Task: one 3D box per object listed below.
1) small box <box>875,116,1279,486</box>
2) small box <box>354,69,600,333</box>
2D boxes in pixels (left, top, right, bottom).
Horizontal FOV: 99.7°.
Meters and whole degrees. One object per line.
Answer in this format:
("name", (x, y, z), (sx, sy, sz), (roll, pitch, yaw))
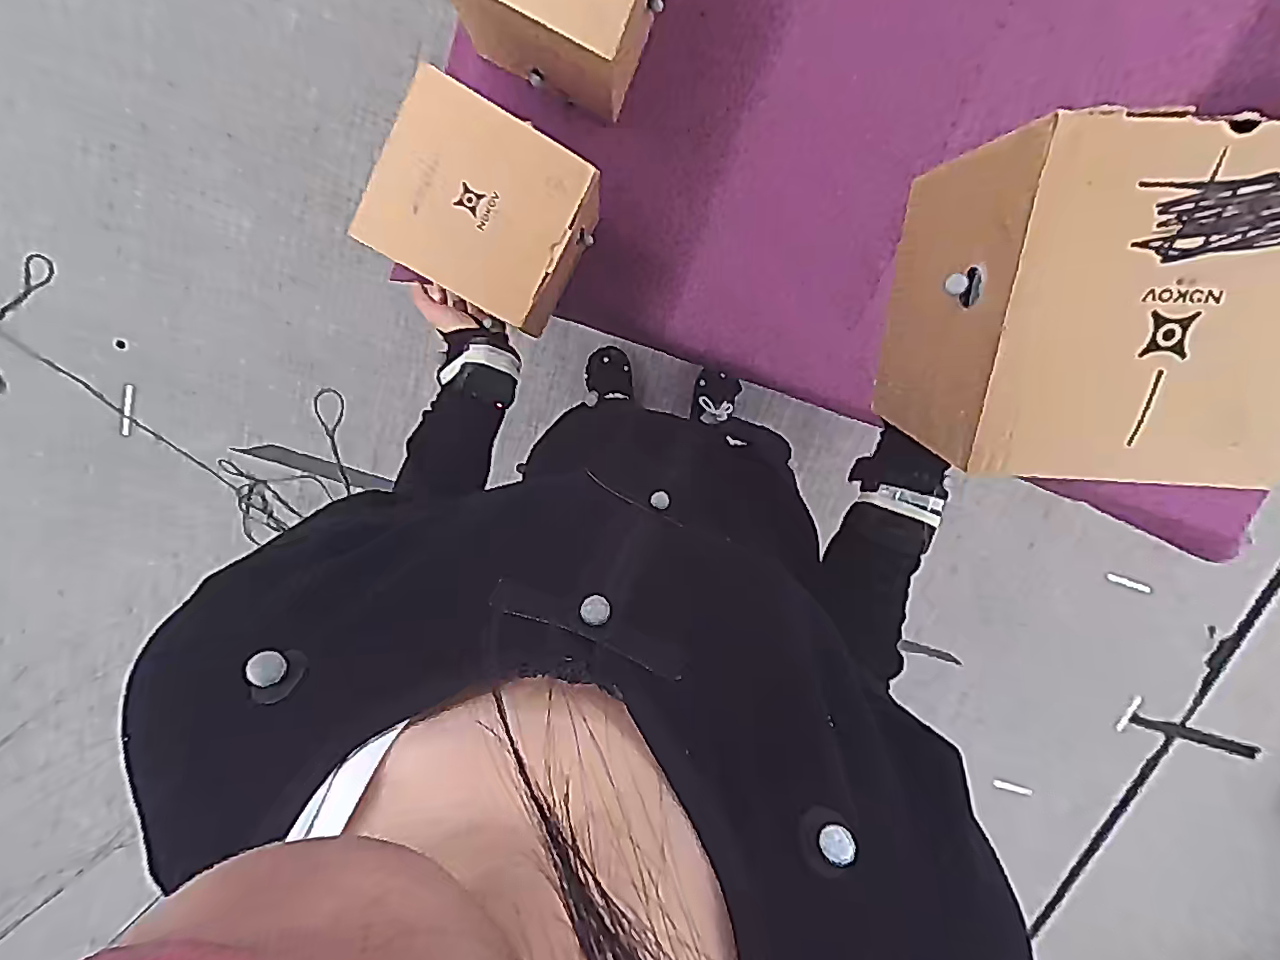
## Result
("small box", (0.272, -0.109, 0.351), (0.168, 0.176, 0.179), (3, 110, 3))
("small box", (-0.156, -0.270, 0.576), (0.179, 0.176, 0.168), (27, 97, -9))
